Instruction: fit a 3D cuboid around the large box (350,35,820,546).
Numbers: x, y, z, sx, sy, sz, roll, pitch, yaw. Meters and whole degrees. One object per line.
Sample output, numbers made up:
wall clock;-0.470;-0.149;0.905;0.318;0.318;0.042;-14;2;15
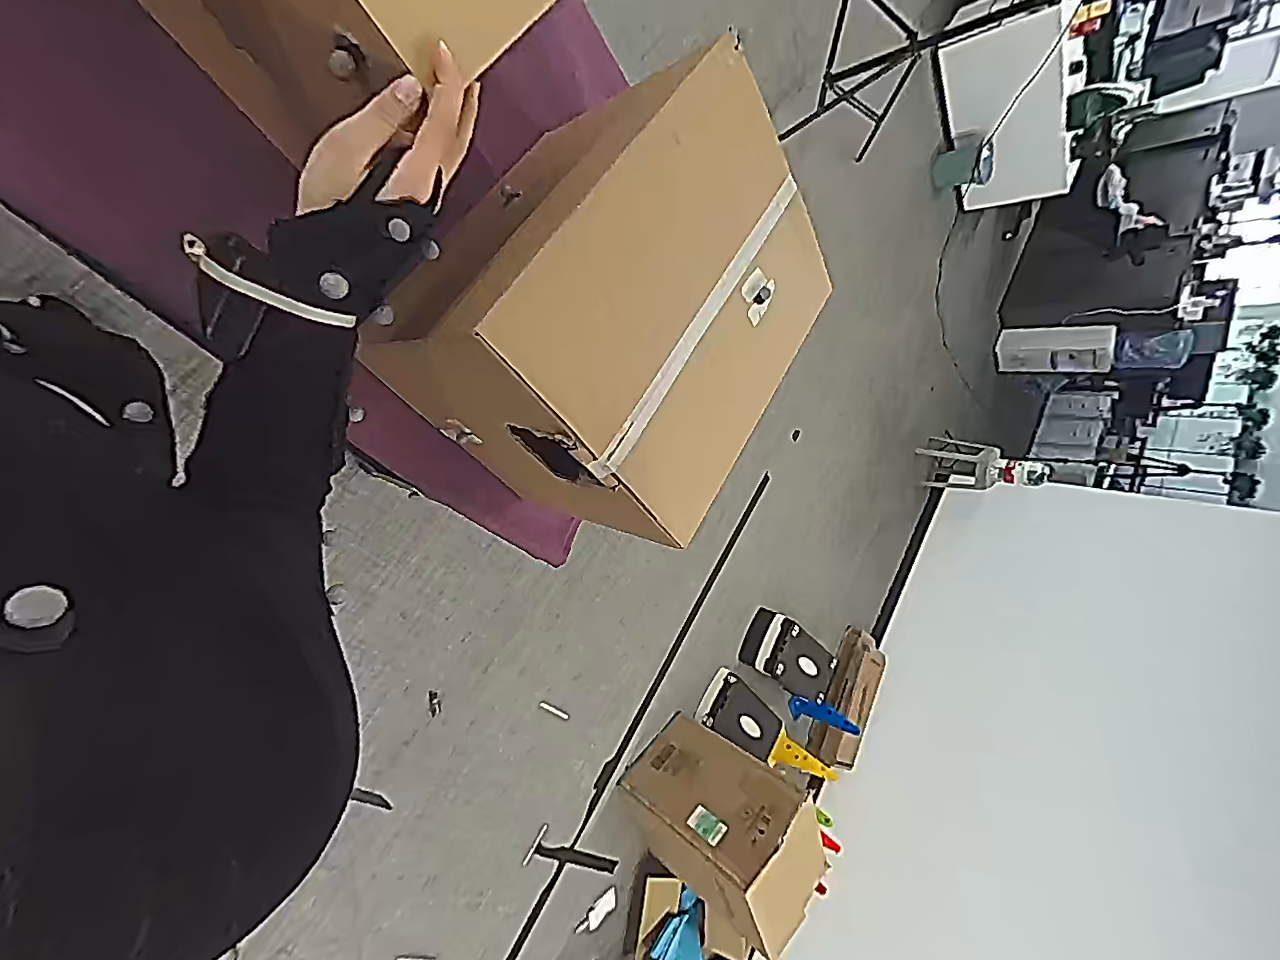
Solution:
large box;-0.045;-0.191;0.641;0.320;0.320;0.408;49;64;-40
